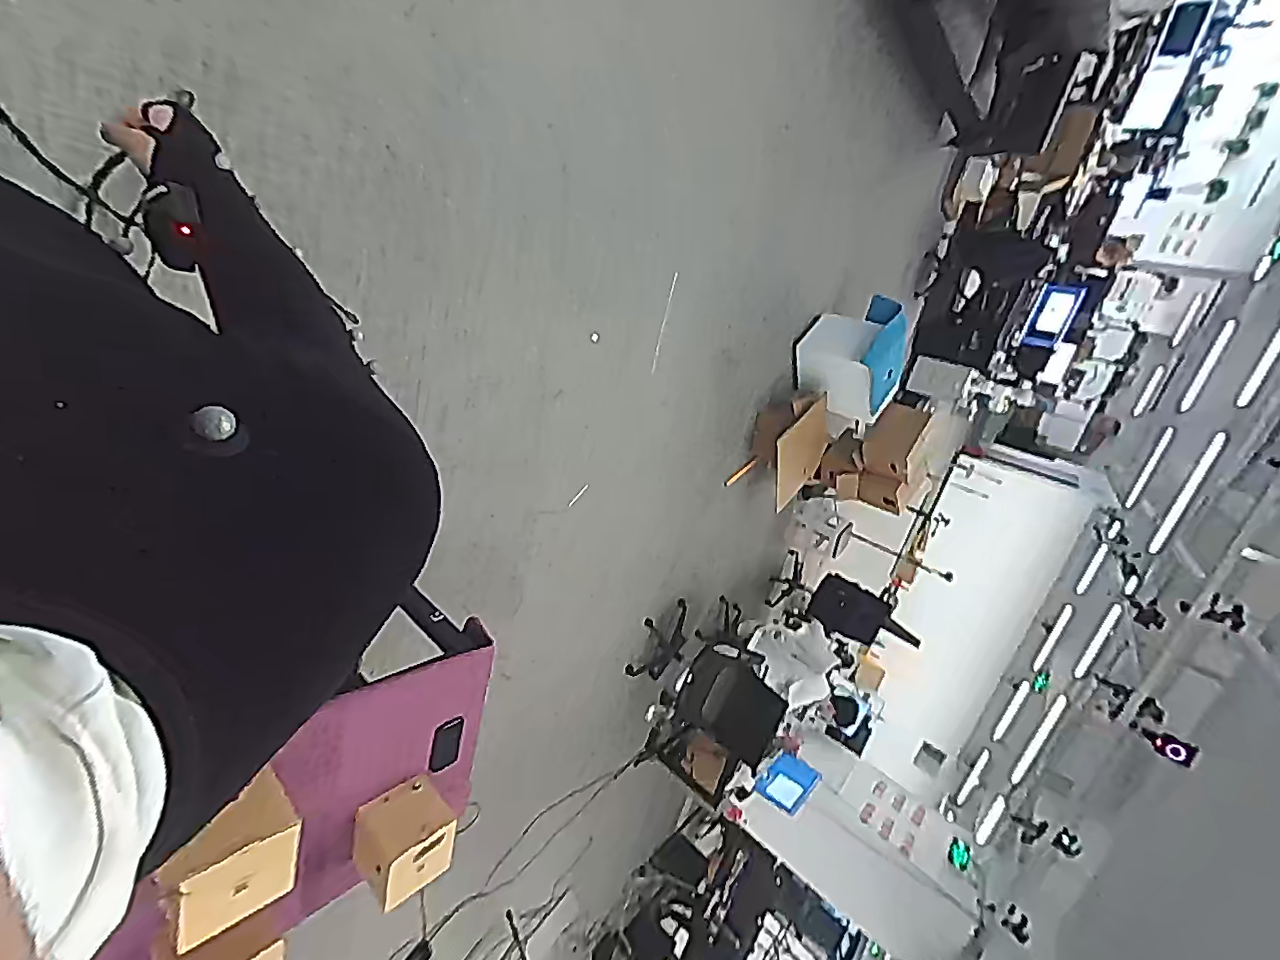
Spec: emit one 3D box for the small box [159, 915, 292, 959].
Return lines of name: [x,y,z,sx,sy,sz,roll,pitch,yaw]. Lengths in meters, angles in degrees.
small box: [-0.789,0.946,1.030,0.168,0.176,0.179,-10,119,-51]

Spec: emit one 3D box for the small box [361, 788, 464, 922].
small box: [-0.550,0.883,1.300,0.168,0.176,0.179,-10,120,-50]

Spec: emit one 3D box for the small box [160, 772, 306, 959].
small box: [-0.711,0.661,0.944,0.168,0.176,0.179,-7,118,-51]
